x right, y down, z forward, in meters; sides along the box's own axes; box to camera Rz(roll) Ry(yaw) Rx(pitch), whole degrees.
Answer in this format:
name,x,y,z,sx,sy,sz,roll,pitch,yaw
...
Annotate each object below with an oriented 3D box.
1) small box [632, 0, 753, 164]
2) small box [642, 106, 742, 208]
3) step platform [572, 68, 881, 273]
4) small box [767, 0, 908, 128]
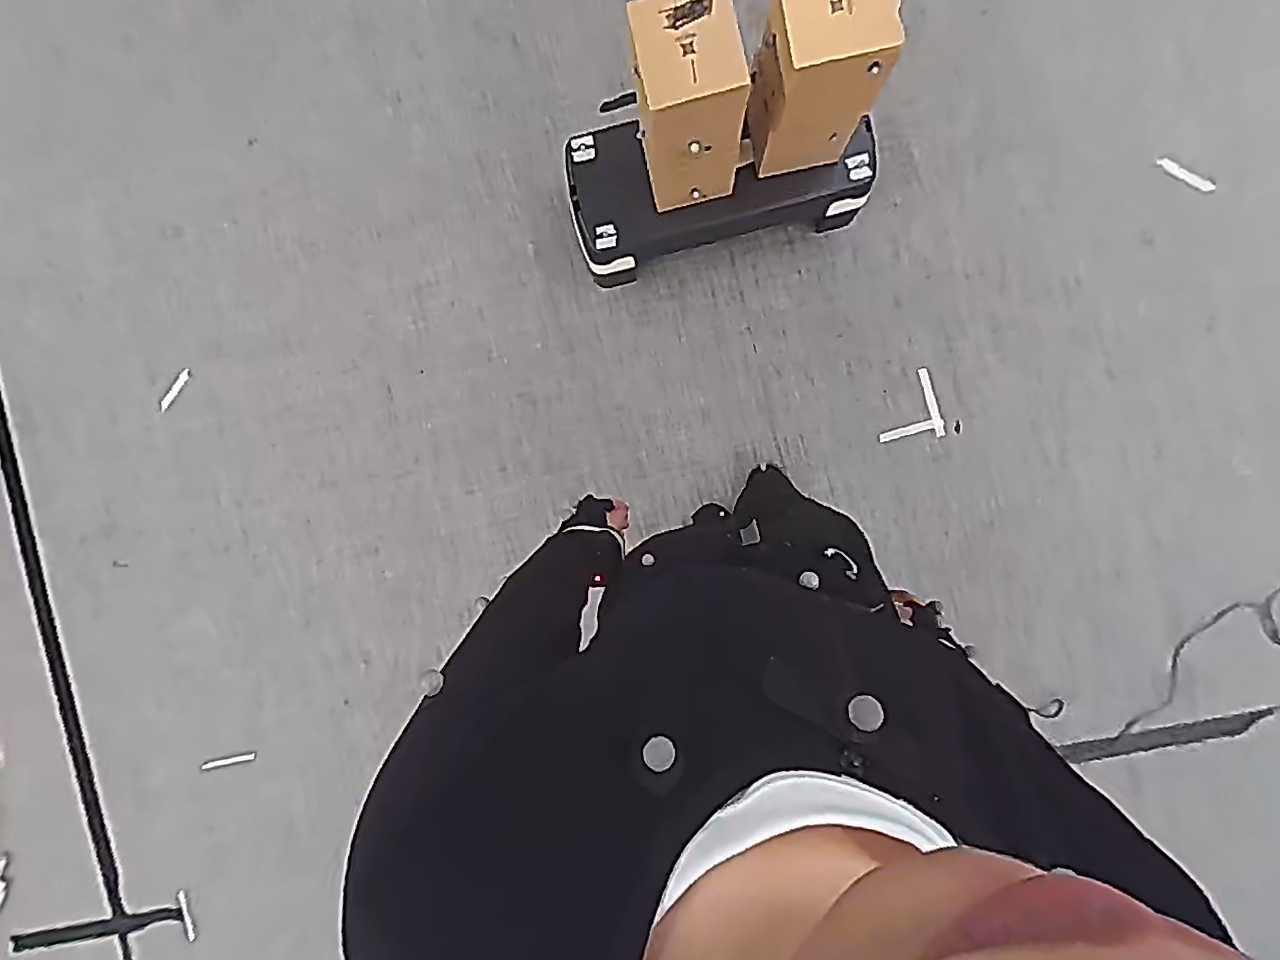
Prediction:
name,x,y,z,sx,sy,sz,roll,pitch,yaw
small box,0.085,-0.687,0.926,0.168,0.176,0.179,-12,91,4
small box,0.099,-0.687,1.090,0.168,0.176,0.179,-12,90,4
step platform,0.187,-0.726,1.257,0.684,0.204,0.286,-14,90,5
small box,0.318,-0.734,0.912,0.179,0.176,0.168,-11,90,3
